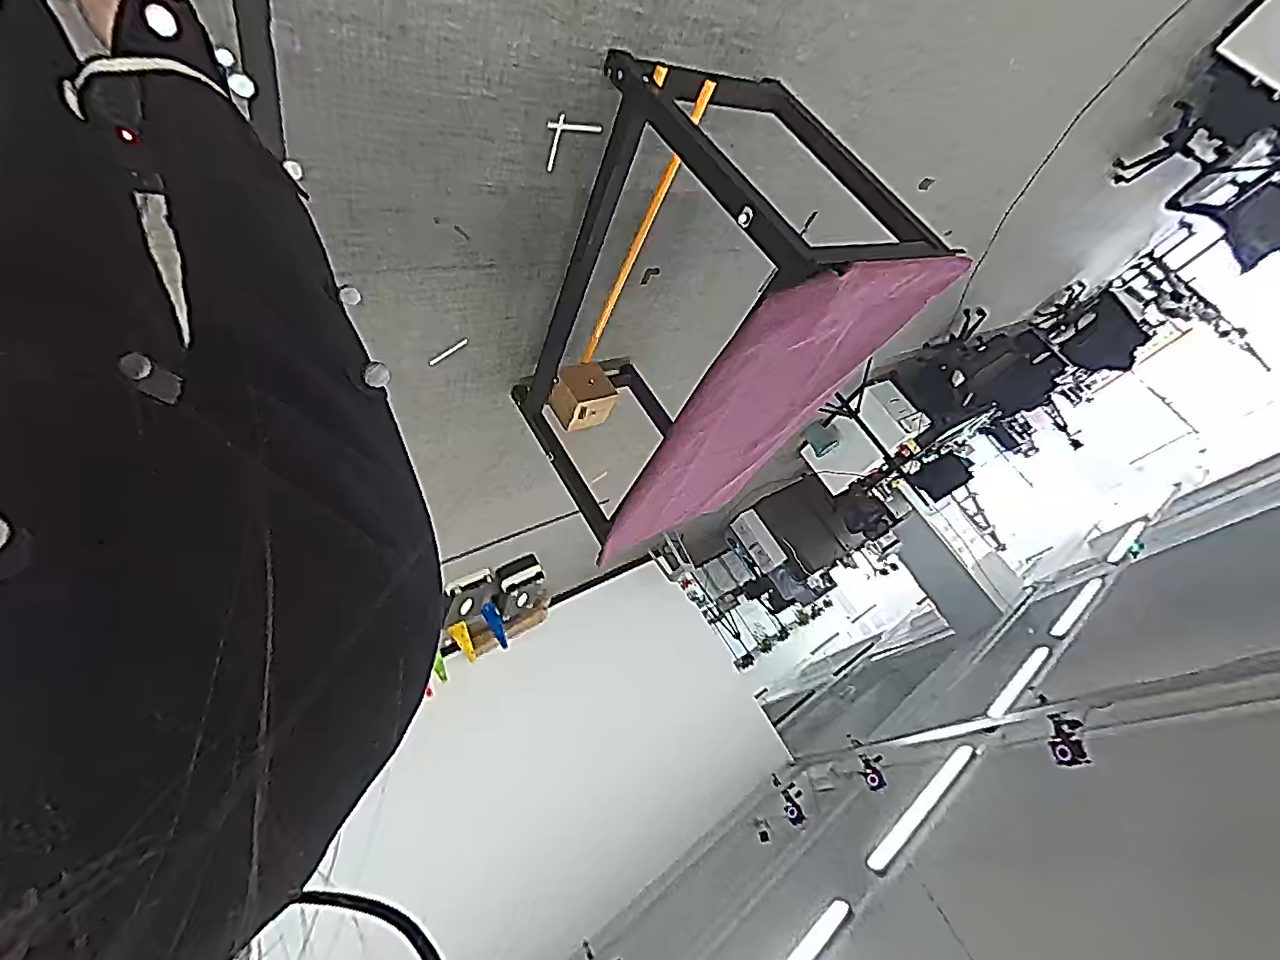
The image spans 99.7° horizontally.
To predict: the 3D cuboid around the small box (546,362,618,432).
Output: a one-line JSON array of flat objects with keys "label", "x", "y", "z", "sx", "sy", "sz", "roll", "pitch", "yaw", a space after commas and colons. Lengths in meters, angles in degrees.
[{"label": "small box", "x": -0.217, "y": -0.304, "z": 1.961, "sx": 0.179, "sy": 0.176, "sz": 0.168, "roll": -20, "pitch": 157, "yaw": -36}]
